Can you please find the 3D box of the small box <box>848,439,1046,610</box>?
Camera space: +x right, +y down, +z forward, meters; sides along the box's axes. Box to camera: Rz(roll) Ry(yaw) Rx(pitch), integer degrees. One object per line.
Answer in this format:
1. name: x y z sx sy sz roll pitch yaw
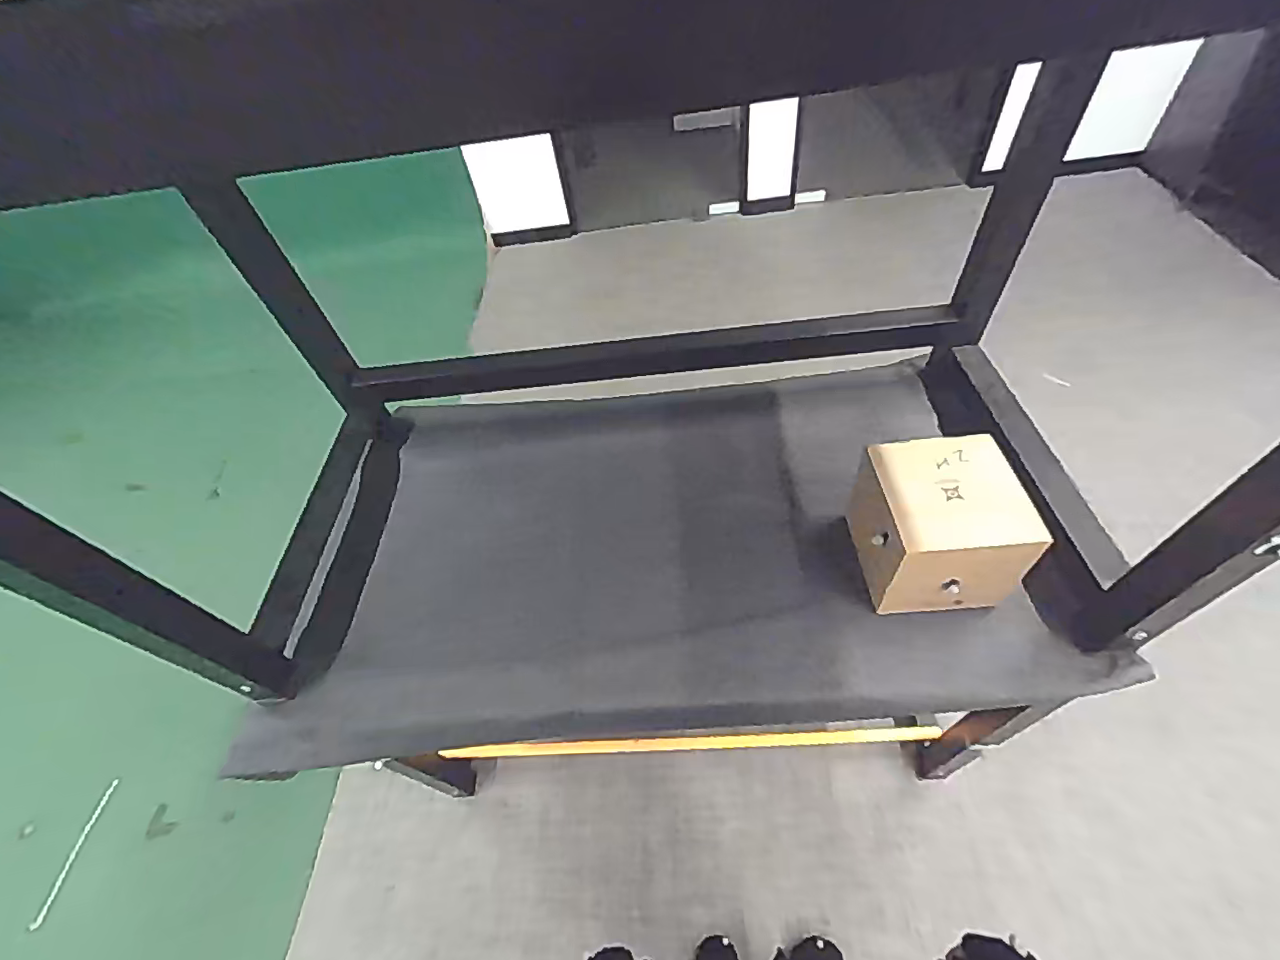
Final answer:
1. small box: 0.401 0.068 0.745 0.168 0.176 0.179 -5 50 5
